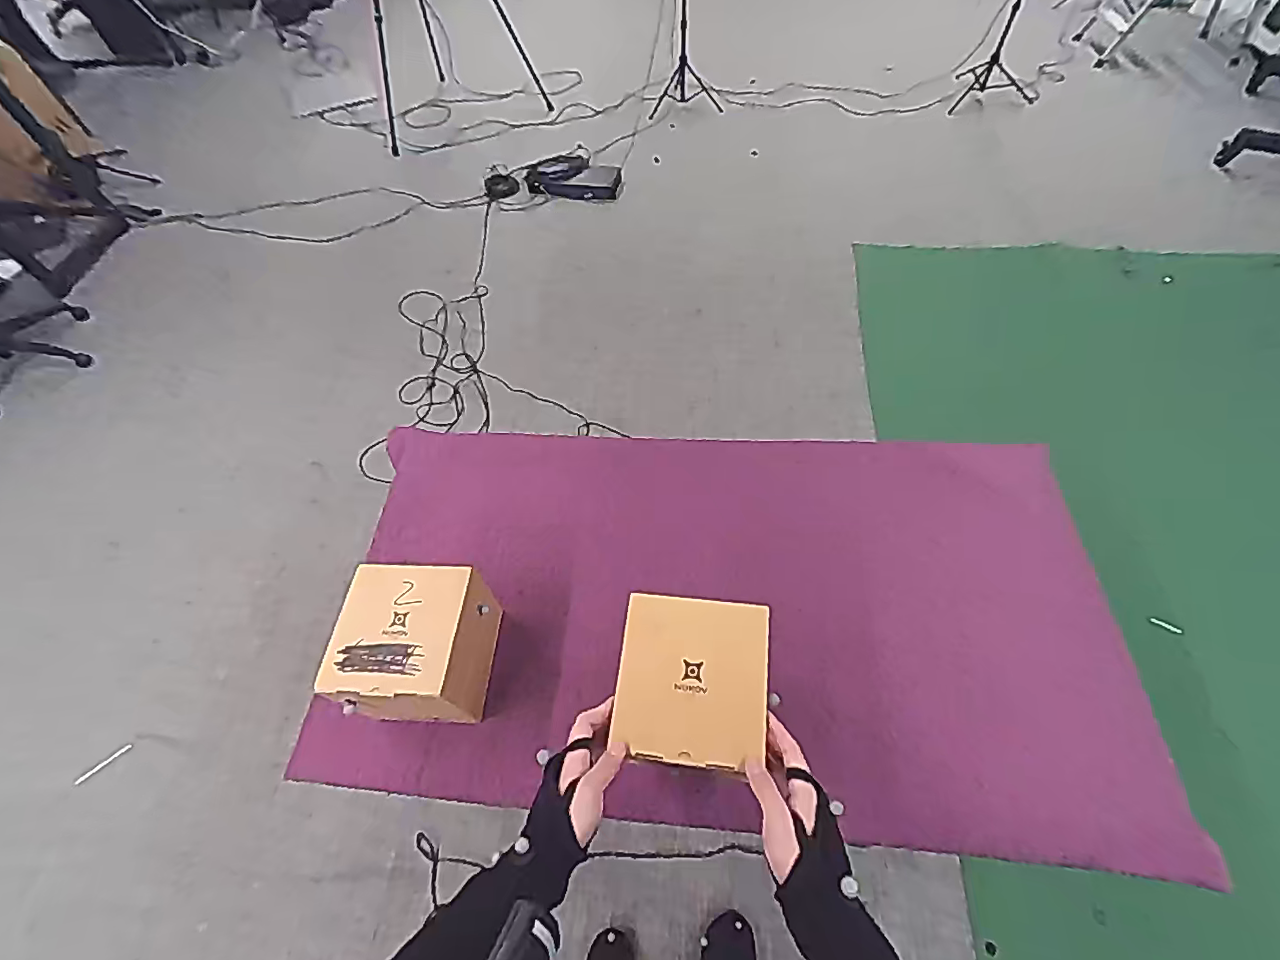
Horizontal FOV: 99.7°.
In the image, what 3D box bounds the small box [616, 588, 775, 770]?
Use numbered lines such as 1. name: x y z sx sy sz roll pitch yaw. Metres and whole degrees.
1. small box: 0.072 0.249 0.669 0.168 0.176 0.179 4 62 8
